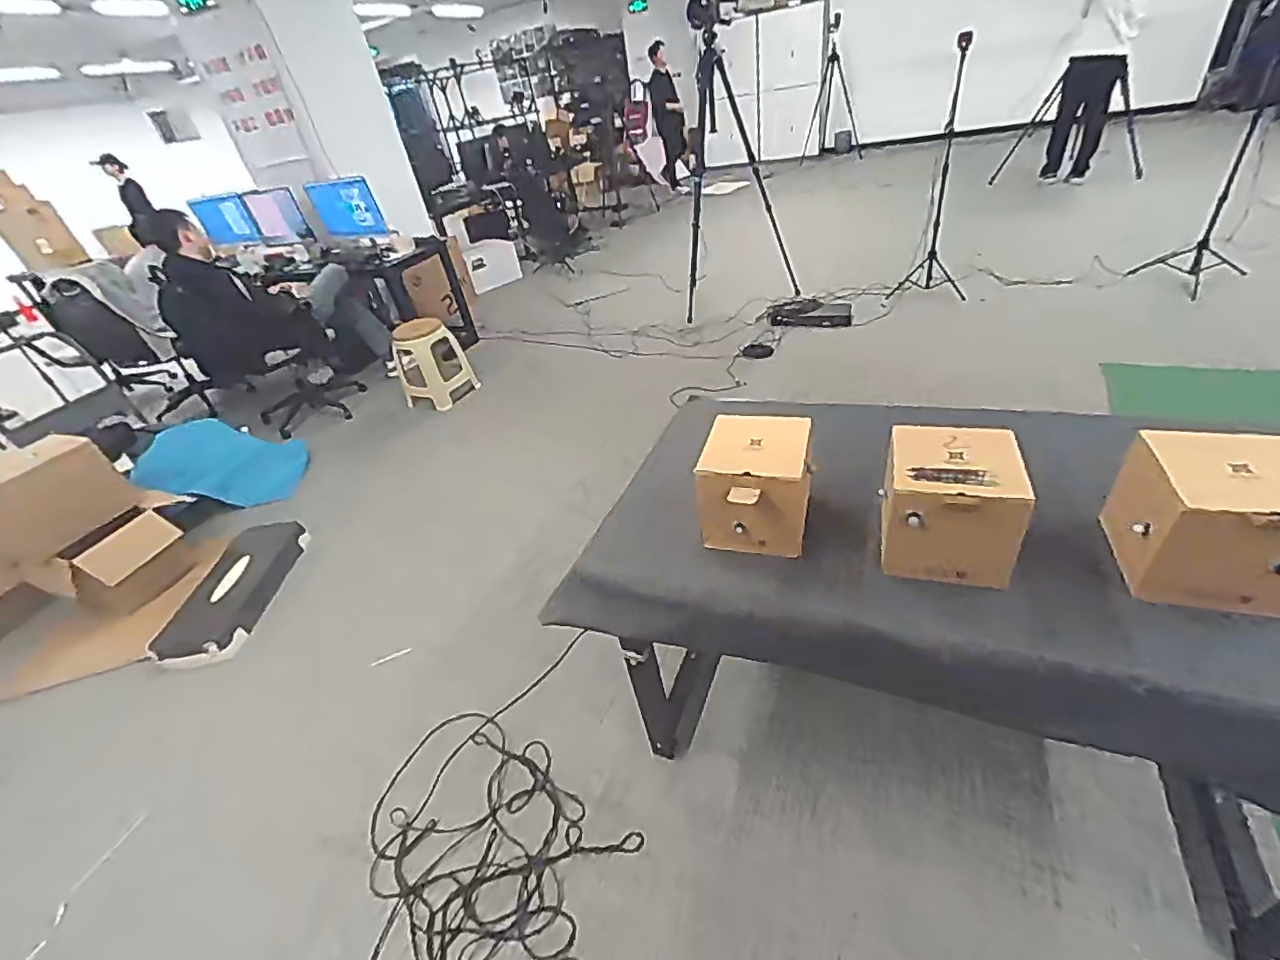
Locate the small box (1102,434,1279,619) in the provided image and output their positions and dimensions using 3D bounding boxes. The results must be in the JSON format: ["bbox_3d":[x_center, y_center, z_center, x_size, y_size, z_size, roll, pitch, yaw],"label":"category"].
[{"bbox_3d":[0.763,0.058,0.719,0.168,0.176,0.179,6,38,20],"label":"small box"}]

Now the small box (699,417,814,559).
[{"bbox_3d":[0.205,0.010,0.935,0.168,0.176,0.179,5,39,20],"label":"small box"}]
